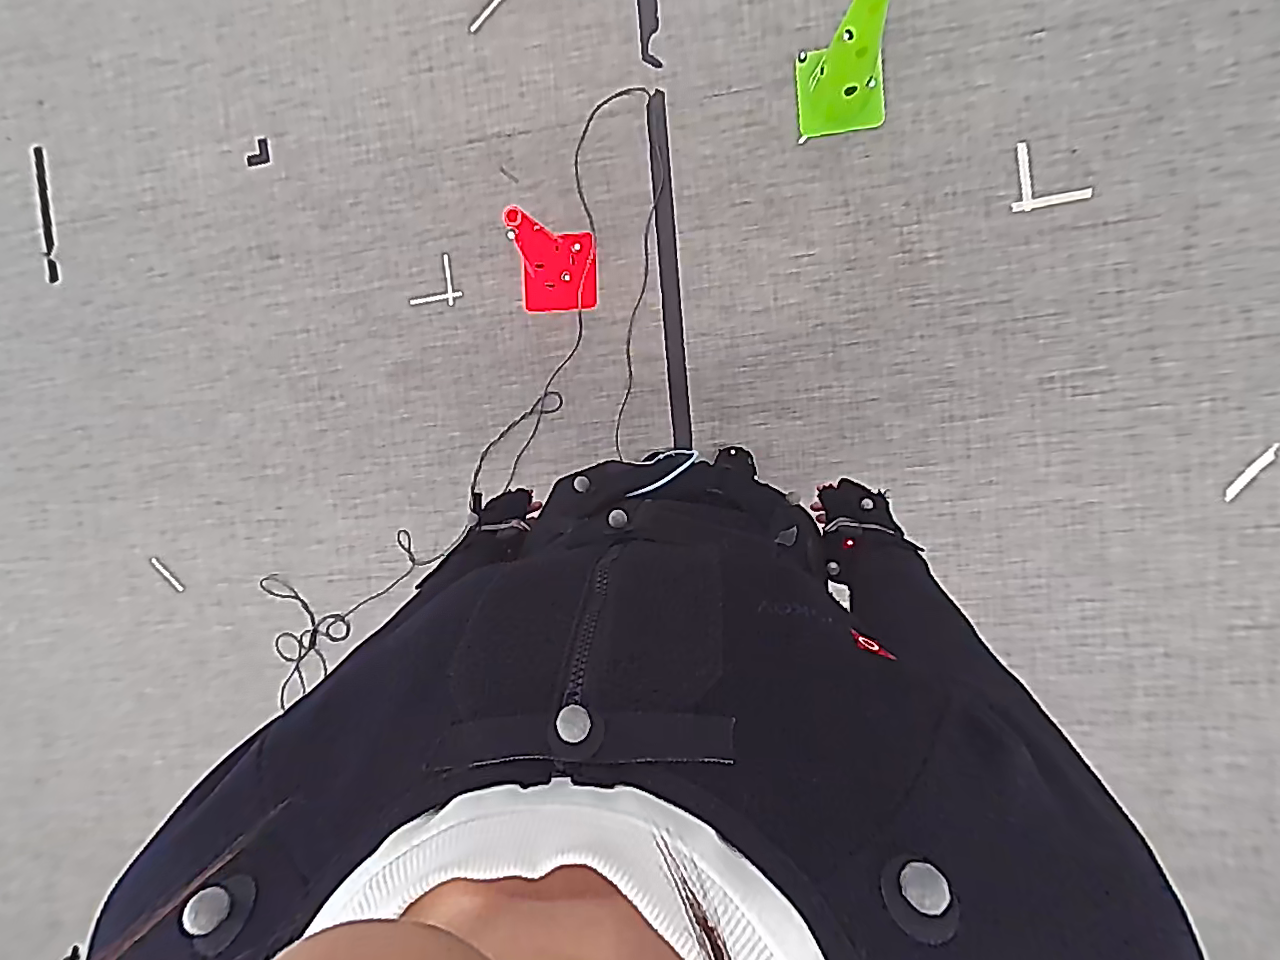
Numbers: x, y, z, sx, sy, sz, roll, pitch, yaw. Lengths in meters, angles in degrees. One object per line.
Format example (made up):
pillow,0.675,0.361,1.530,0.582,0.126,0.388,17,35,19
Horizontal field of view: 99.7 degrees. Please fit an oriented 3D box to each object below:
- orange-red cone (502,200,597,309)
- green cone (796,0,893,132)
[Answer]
orange-red cone,-0.237,-0.547,1.254,0.199,0.360,0.198,0,92,9
green cone,0.465,-0.942,1.135,0.202,0.368,0.200,-5,93,6
